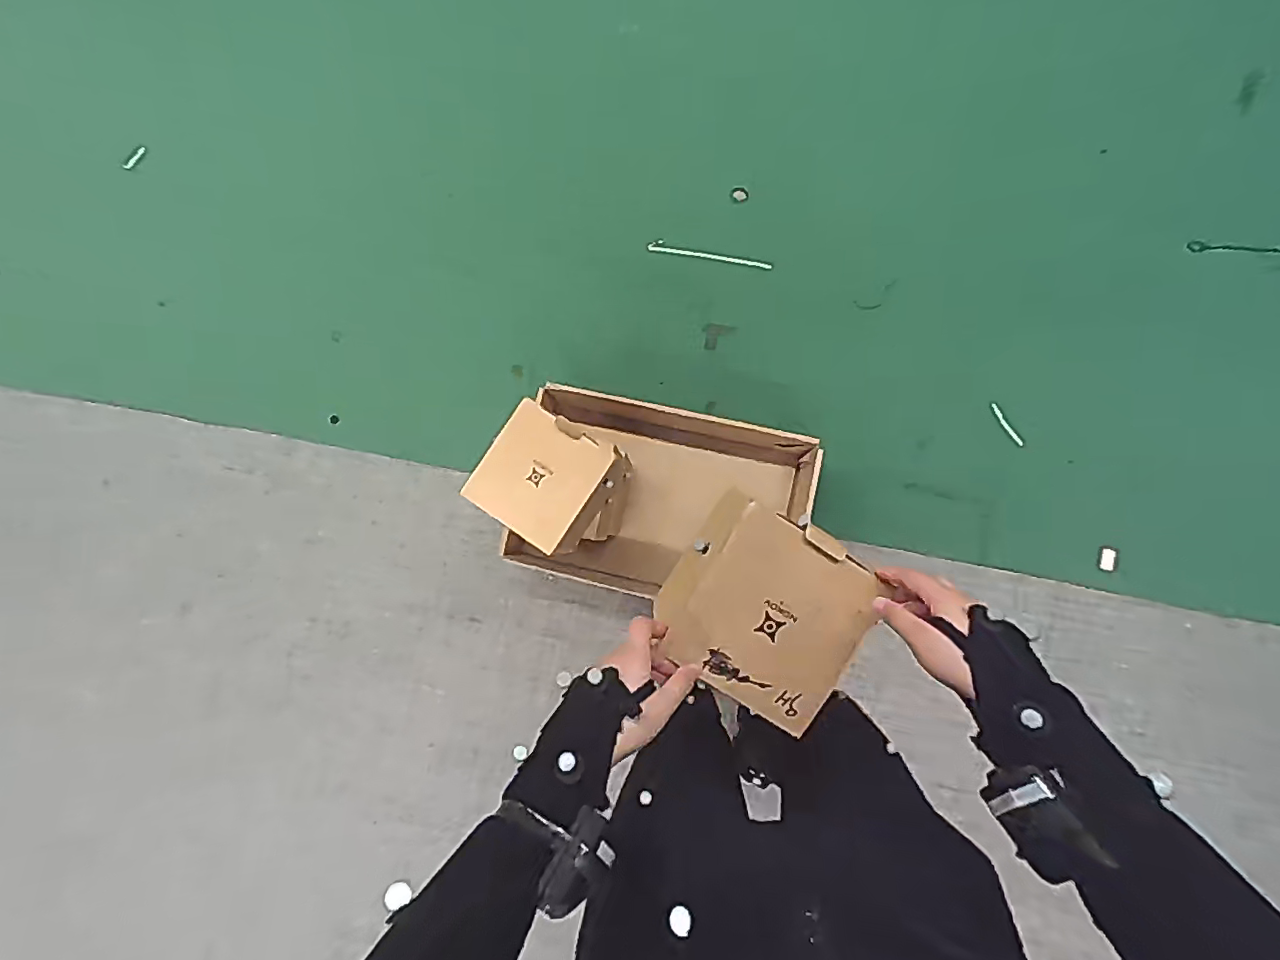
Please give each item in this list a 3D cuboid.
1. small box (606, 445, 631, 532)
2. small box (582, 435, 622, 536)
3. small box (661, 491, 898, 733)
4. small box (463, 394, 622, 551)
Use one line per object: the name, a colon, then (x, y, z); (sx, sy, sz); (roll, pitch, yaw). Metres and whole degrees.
small box: (-0.115, 0.012, 1.183); (0.168, 0.176, 0.179); (11, 84, 4)
small box: (-0.132, 0.005, 1.021); (0.168, 0.176, 0.179); (12, 84, 3)
small box: (0.131, 0.123, 0.588); (0.168, 0.176, 0.179); (33, 92, 1)
small box: (-0.140, -0.004, 0.858); (0.168, 0.176, 0.179); (34, 86, 6)
